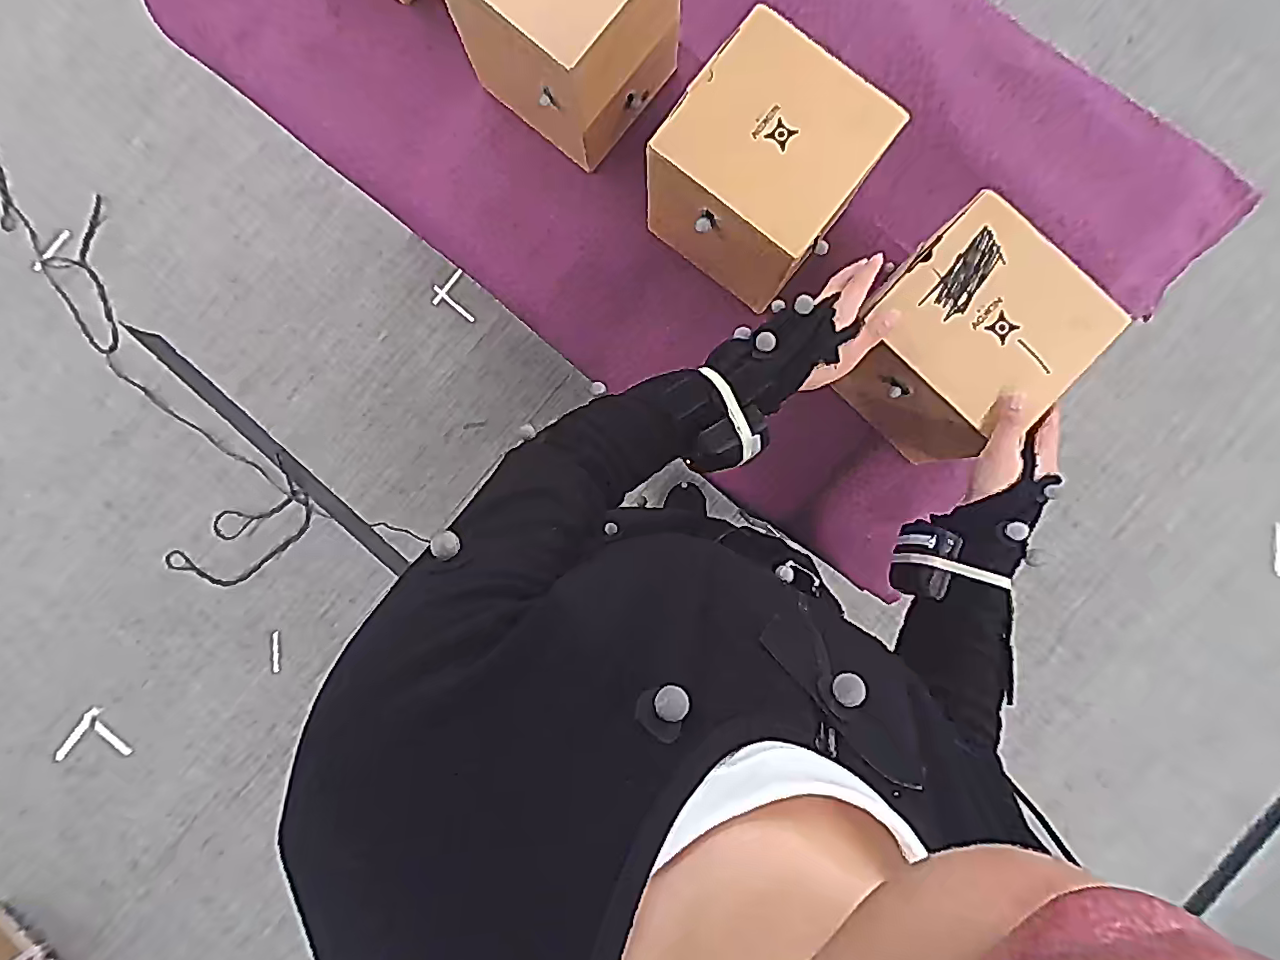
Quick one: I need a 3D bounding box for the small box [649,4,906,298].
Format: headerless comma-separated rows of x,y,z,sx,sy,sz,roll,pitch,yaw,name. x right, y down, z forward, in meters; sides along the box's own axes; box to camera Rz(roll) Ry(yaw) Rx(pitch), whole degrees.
0.127,-0.317,0.569,0.179,0.176,0.168,39,91,2,small box
